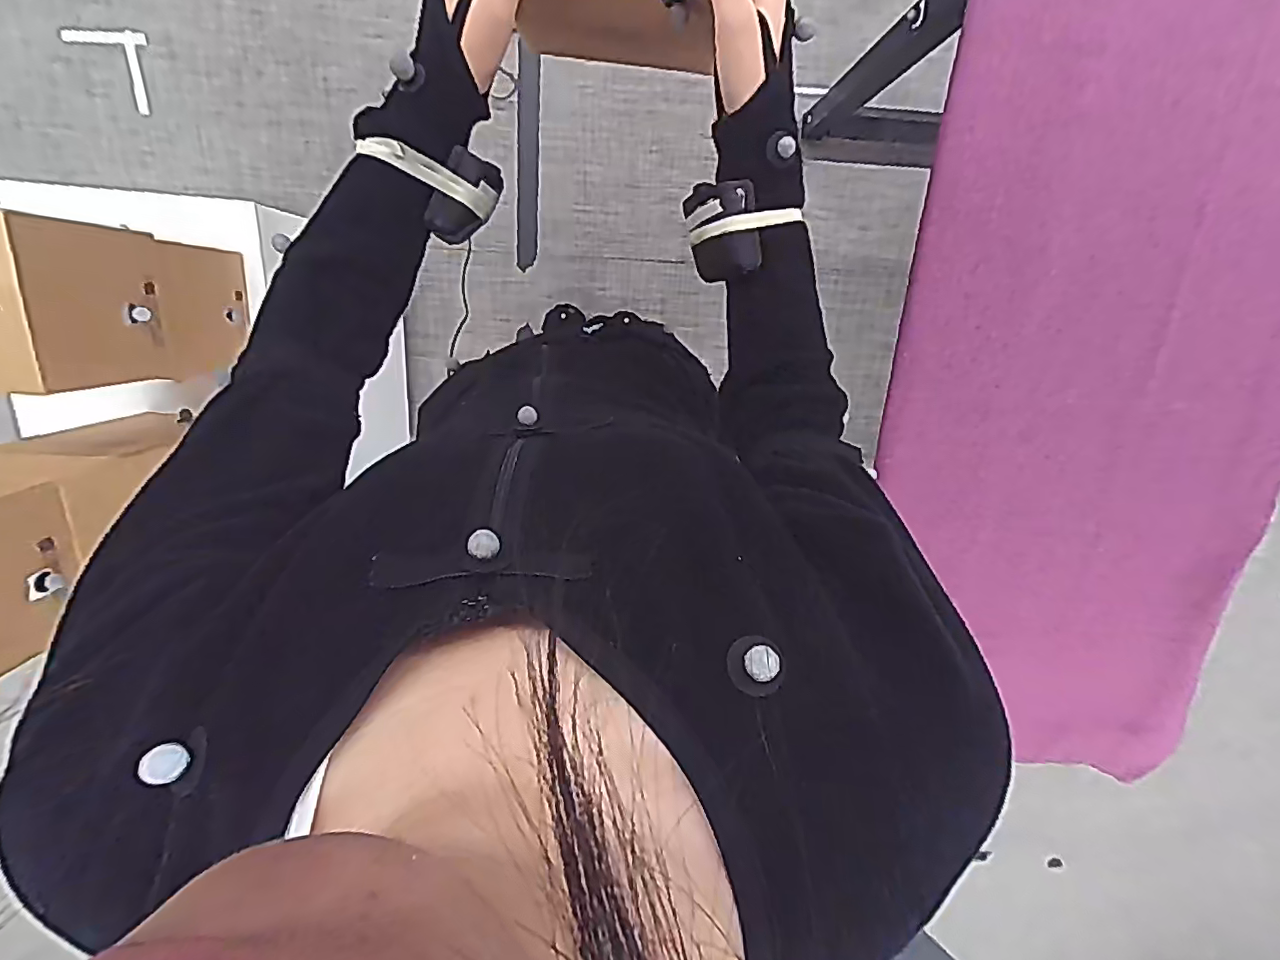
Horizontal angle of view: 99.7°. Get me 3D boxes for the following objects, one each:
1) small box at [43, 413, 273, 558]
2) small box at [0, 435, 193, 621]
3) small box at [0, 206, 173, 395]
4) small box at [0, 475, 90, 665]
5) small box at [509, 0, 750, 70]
[{"bbox_3d":[-0.678,-0.001,0.785,0.179,0.176,0.168,4,107,-3],"label":"small box"},{"bbox_3d":[-0.668,0.047,0.629,0.179,0.176,0.168,2,107,-3],"label":"small box"},{"bbox_3d":[-0.642,-0.188,0.554,0.179,0.176,0.168,5,108,-6],"label":"small box"},{"bbox_3d":[-0.662,0.094,0.474,0.179,0.176,0.168,2,108,-4],"label":"small box"},{"bbox_3d":[-0.003,-0.418,0.375,0.179,0.176,0.168,6,108,-2],"label":"small box"}]
